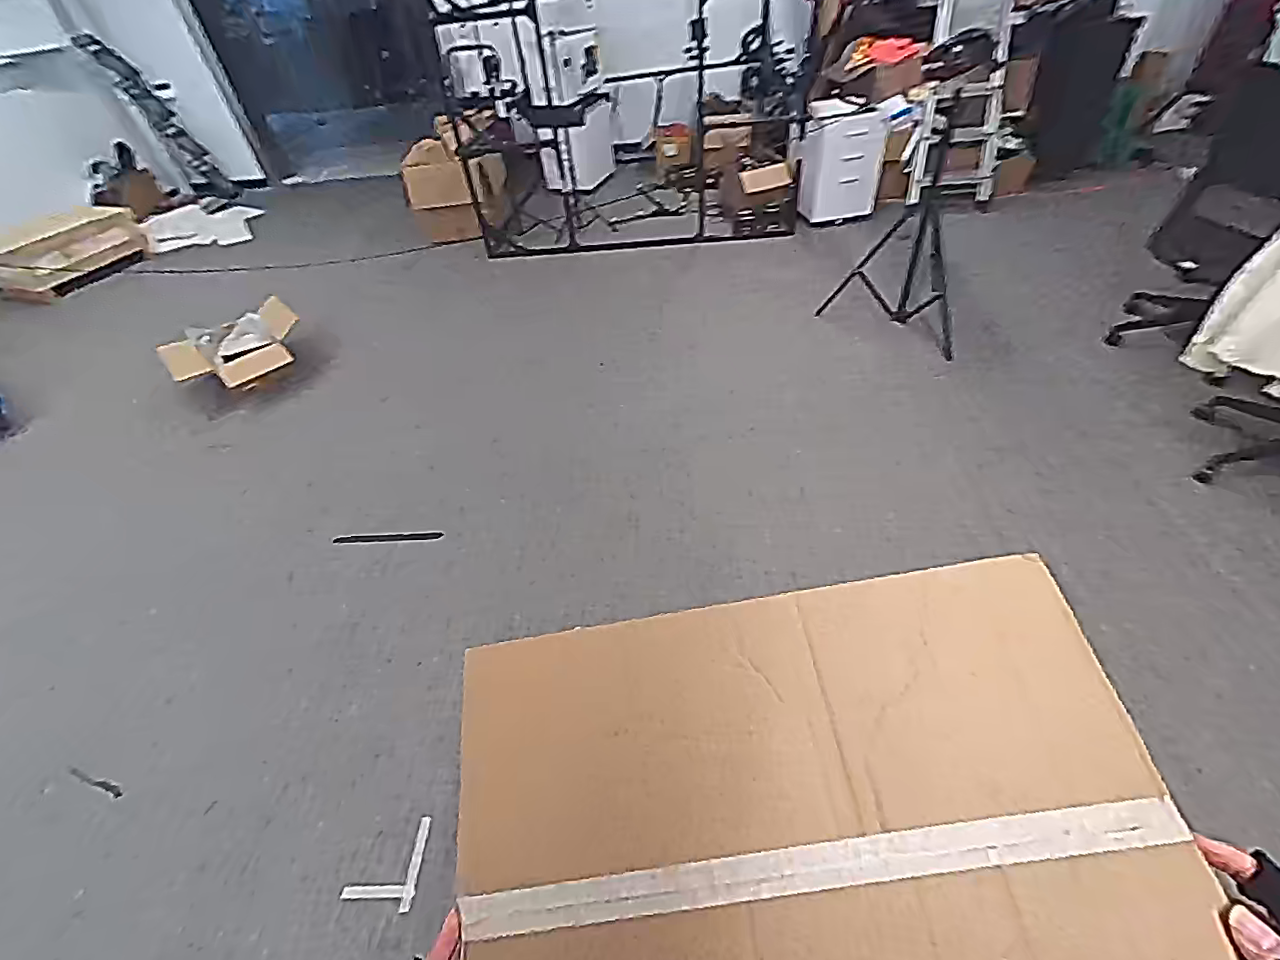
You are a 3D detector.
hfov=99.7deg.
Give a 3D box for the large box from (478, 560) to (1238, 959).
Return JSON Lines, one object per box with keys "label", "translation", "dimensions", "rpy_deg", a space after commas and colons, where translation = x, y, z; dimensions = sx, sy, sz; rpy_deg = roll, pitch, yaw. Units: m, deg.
{"label": "large box", "translation": [0.118, 0.296, 0.442], "dimensions": [0.408, 0.320, 0.320], "rpy_deg": [-11, 61, 4]}
